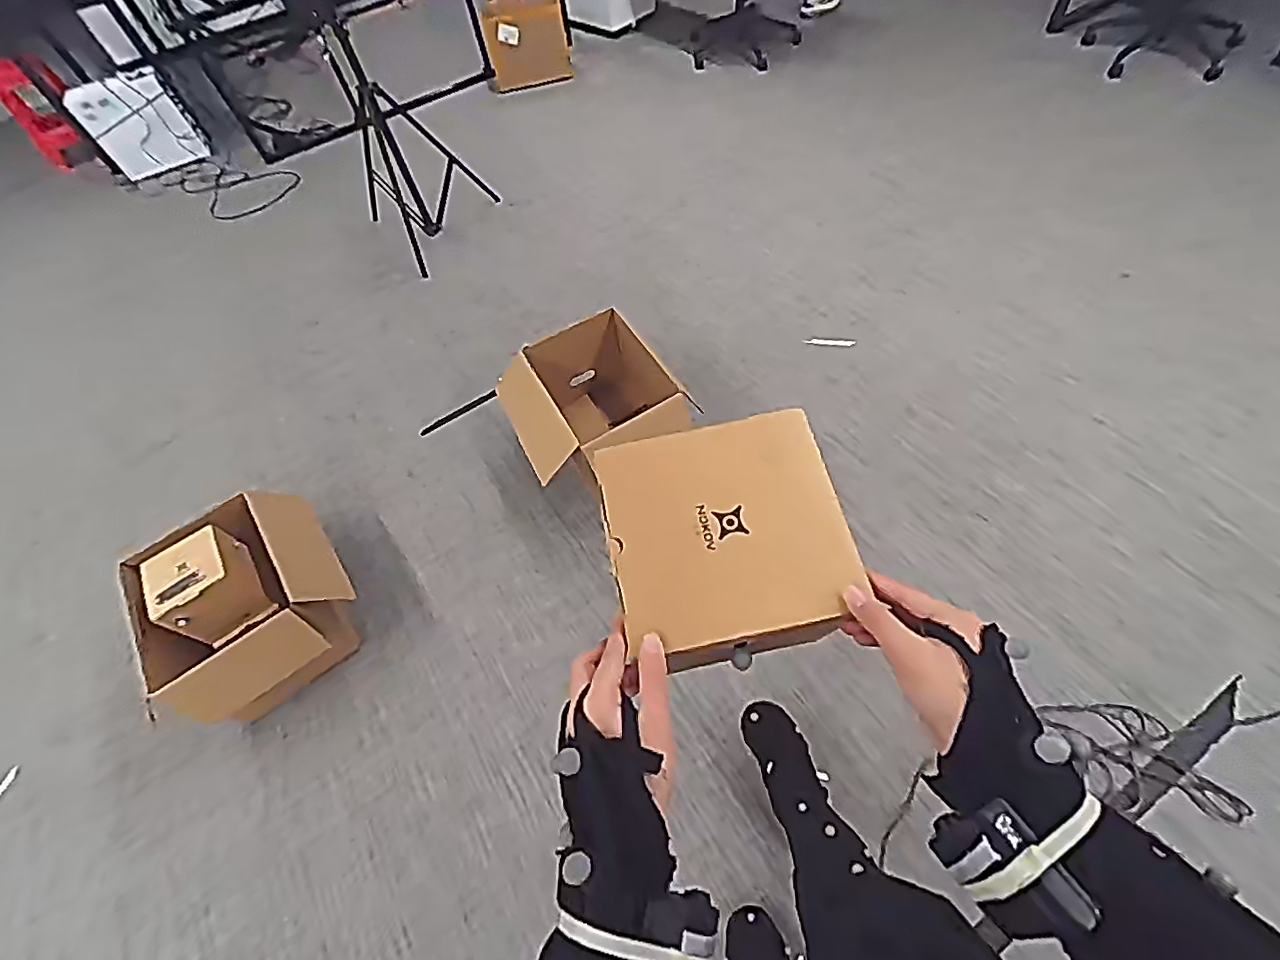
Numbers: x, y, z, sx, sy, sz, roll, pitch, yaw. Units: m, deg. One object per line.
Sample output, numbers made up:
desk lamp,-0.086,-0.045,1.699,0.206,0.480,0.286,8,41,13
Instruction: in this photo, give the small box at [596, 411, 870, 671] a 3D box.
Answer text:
small box,0.067,0.064,0.480,0.179,0.176,0.168,-12,65,-1
